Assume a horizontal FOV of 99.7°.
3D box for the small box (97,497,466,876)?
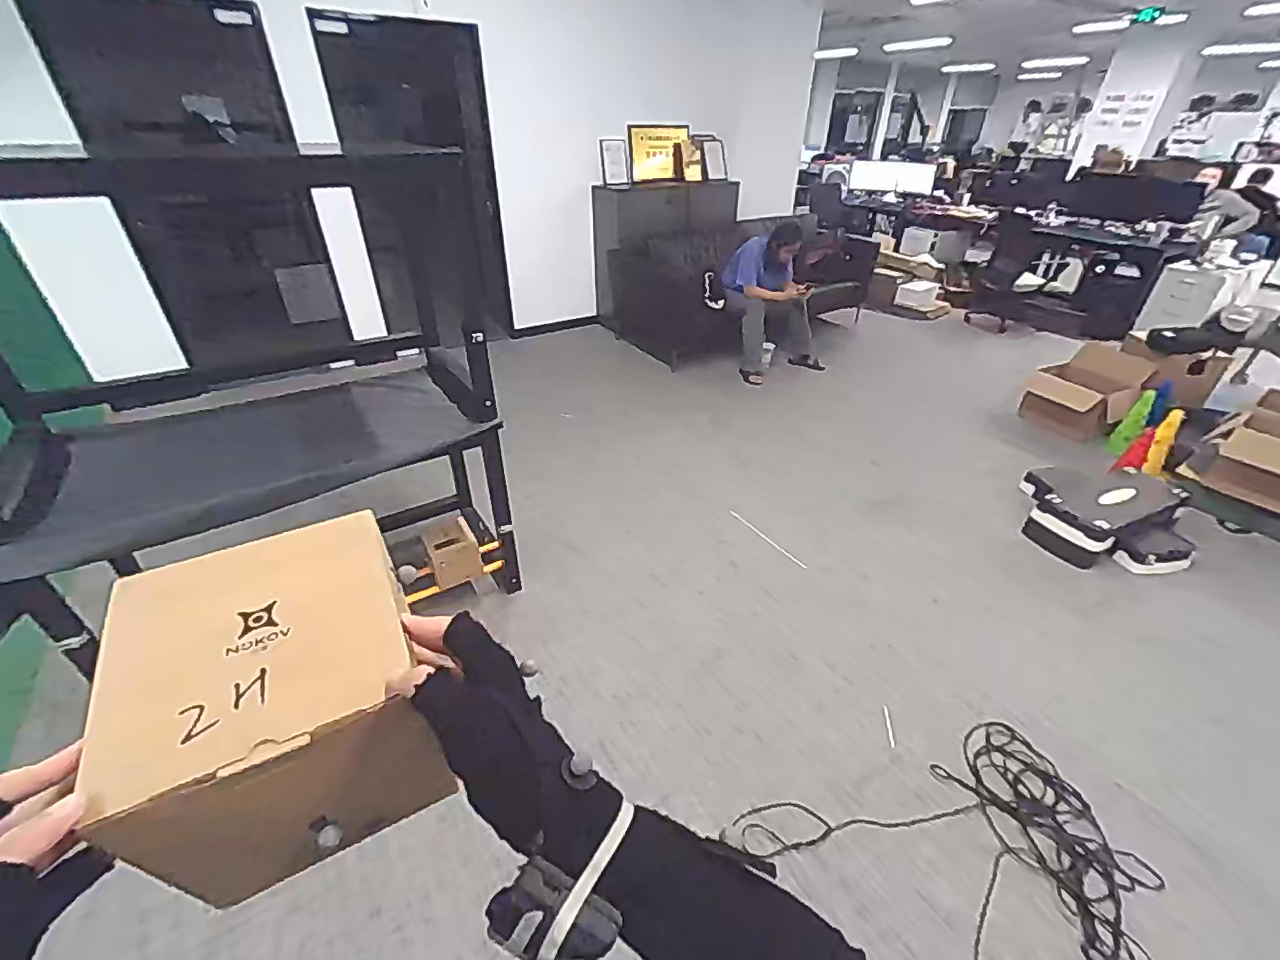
[{"bbox_3d":[-0.243,0.146,0.407,0.168,0.176,0.179,-17,44,-23],"label":"small box"}]
